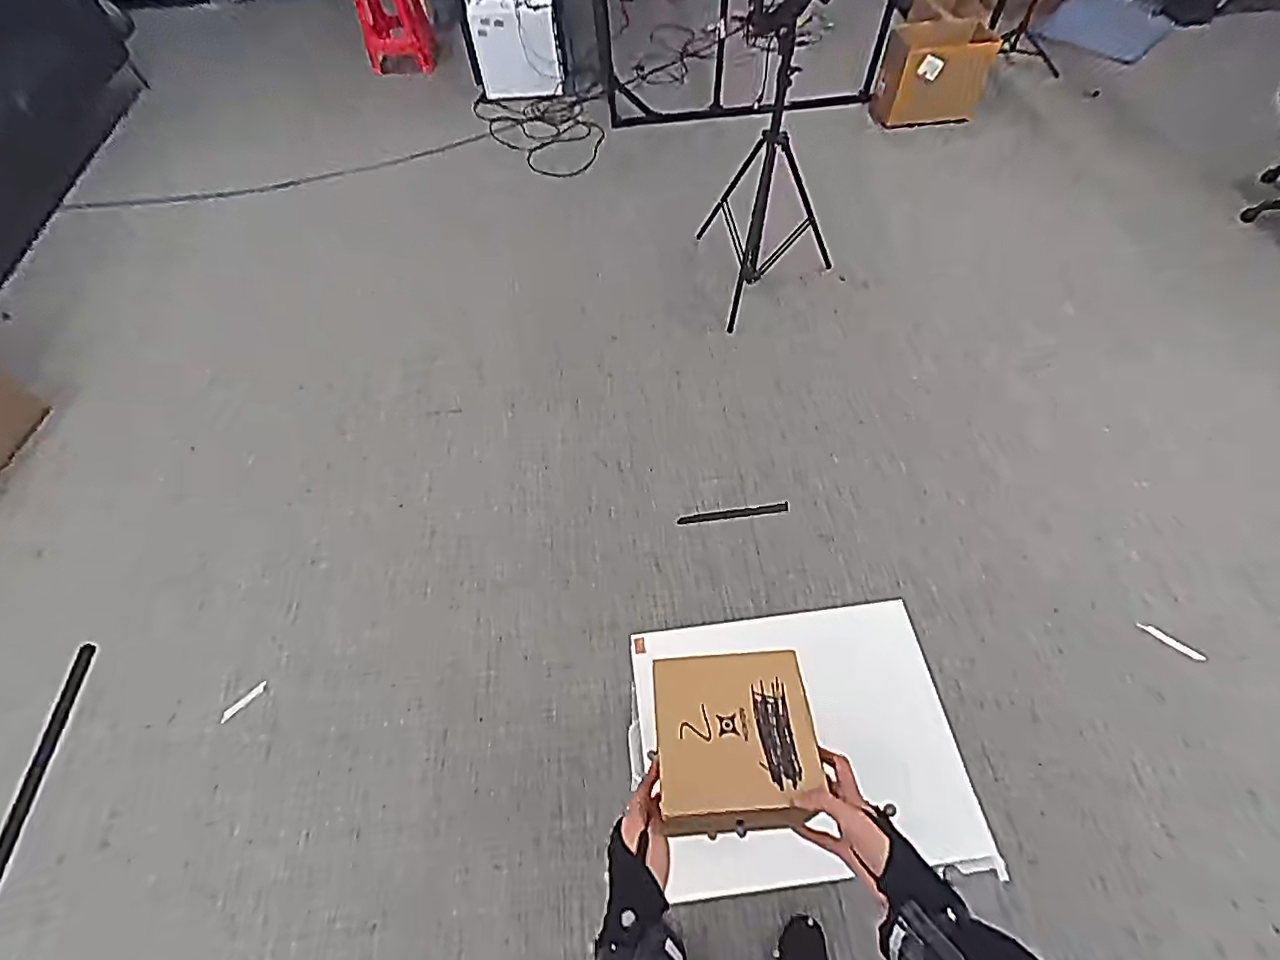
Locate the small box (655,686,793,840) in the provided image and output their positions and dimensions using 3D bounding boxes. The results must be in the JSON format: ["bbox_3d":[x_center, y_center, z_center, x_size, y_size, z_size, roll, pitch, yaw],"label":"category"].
[{"bbox_3d":[0.115,0.421,0.808,0.168,0.176,0.179,-6,59,-1],"label":"small box"}]
